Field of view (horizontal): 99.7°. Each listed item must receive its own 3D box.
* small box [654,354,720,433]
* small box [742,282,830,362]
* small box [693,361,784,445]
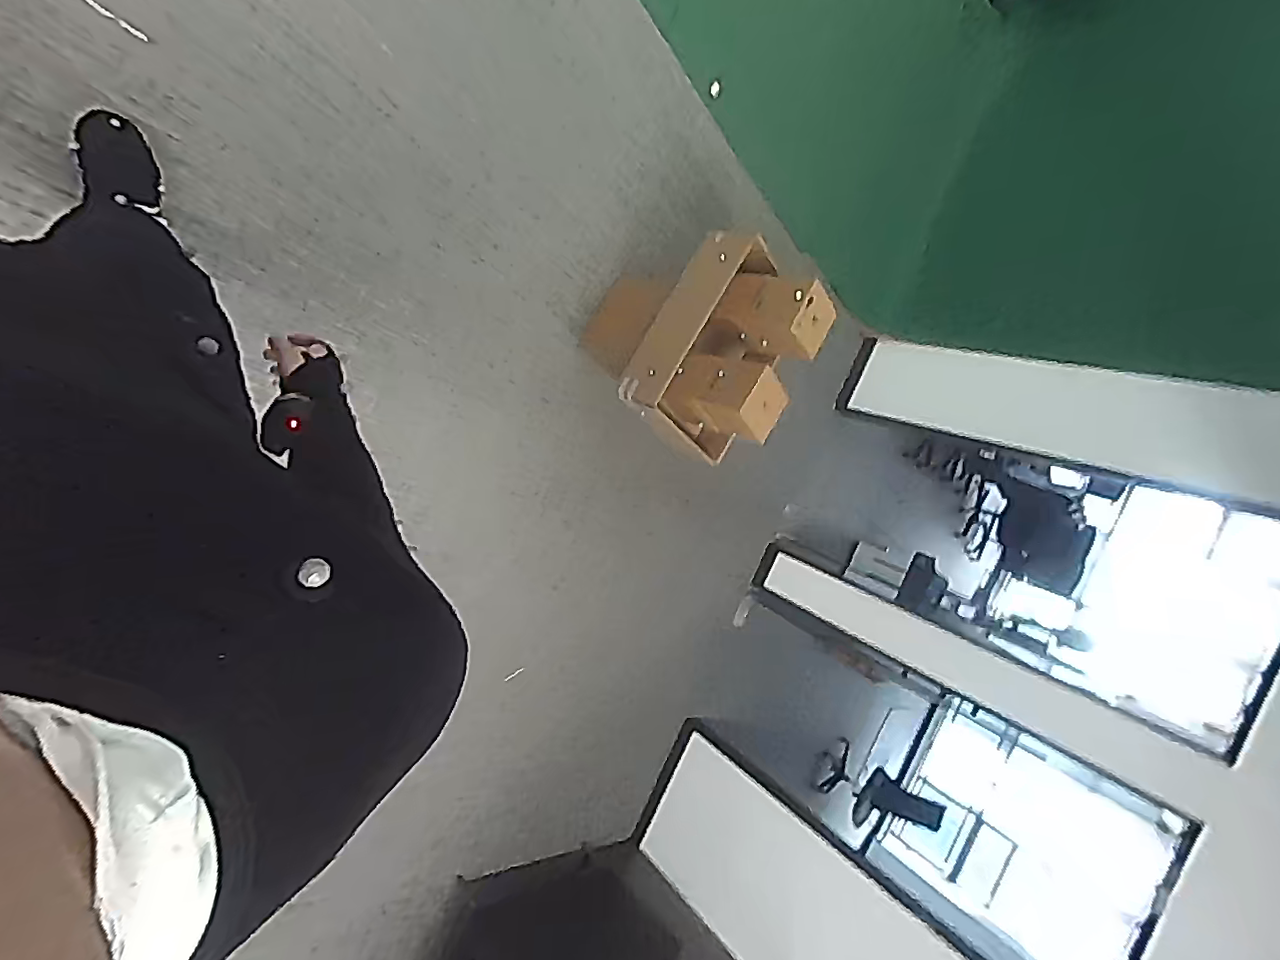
[{"bbox_3d":[0.177,-0.279,1.705,0.168,0.176,0.179,-57,137,-9],"label":"small box"},{"bbox_3d":[0.439,-0.481,1.629,0.179,0.176,0.168,33,83,-48],"label":"small box"},{"bbox_3d":[0.289,-0.233,1.596,0.168,0.176,0.179,-58,137,-9],"label":"small box"}]
